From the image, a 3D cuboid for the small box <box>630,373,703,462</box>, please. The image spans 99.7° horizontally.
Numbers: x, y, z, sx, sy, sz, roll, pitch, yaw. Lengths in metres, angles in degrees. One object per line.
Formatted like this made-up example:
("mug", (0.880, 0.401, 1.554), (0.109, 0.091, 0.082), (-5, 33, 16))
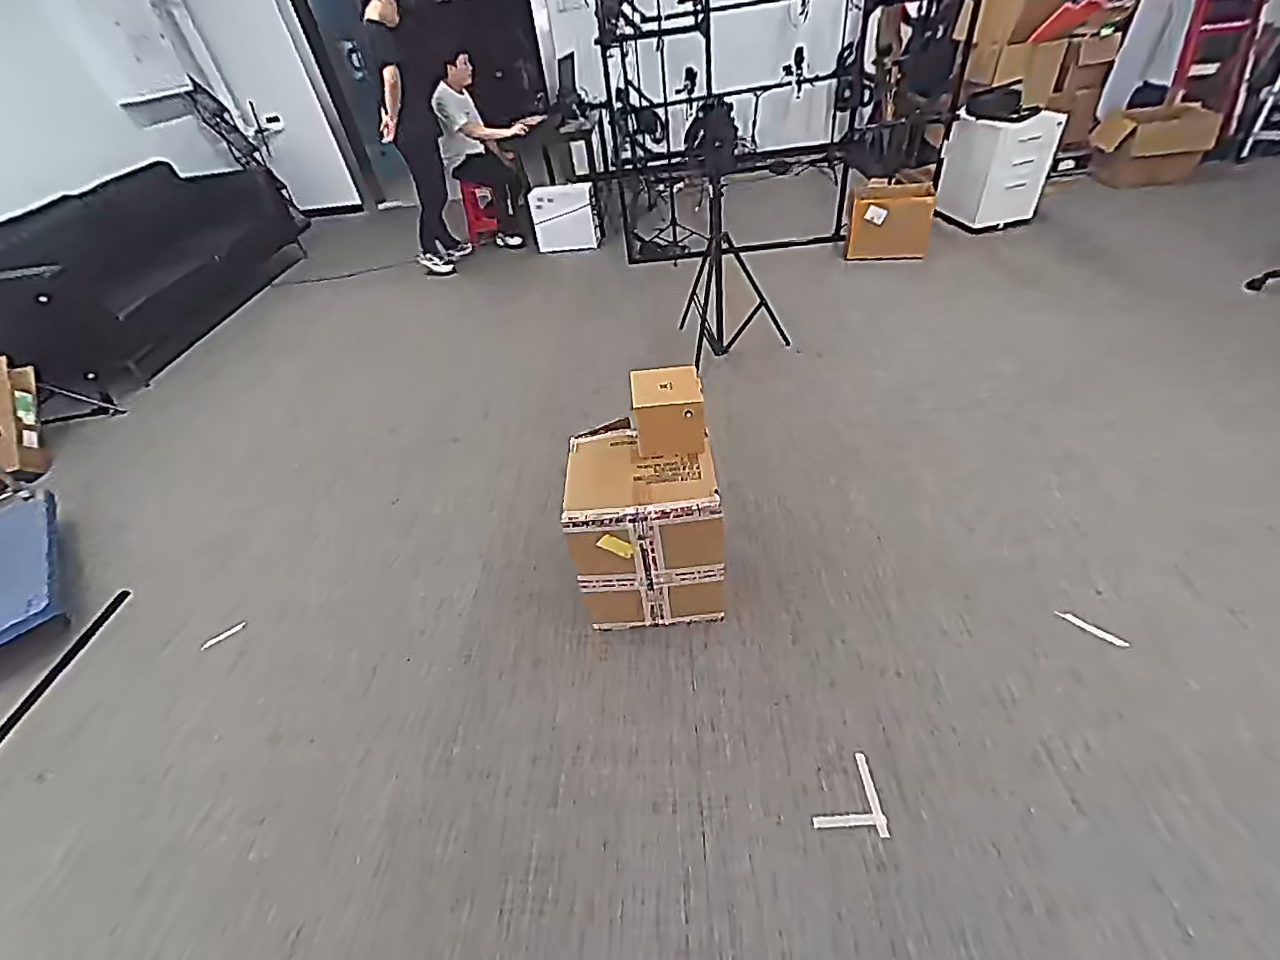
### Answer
("small box", (0.071, -0.163, 1.434), (0.179, 0.176, 0.168), (-6, 43, 0))
